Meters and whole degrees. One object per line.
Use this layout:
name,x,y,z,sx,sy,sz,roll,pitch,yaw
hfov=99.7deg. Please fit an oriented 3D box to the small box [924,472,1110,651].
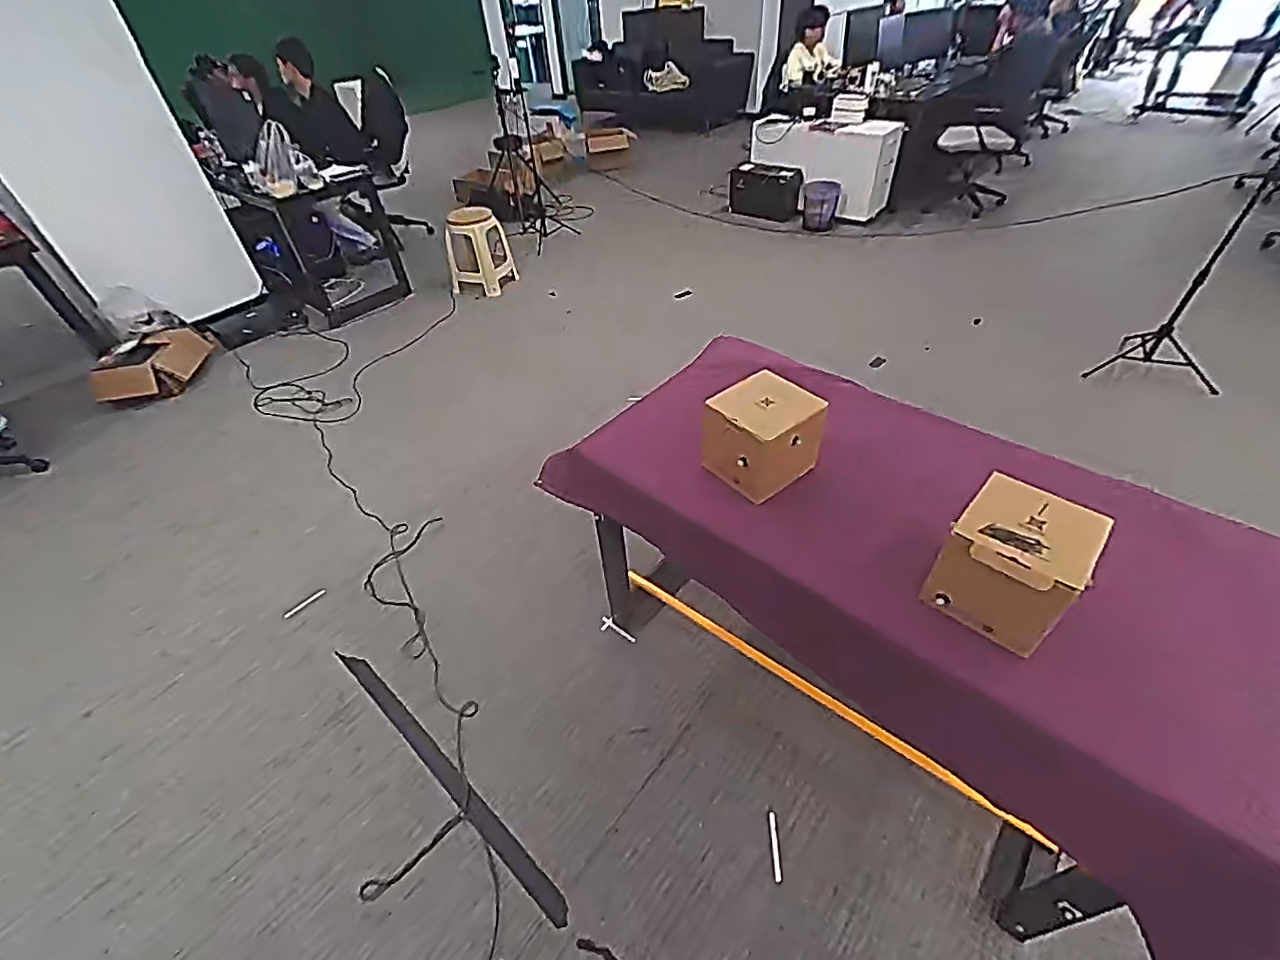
small box,0.567,0.126,0.835,0.168,0.176,0.179,32,53,32

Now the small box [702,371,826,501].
small box,0.243,-0.087,1.090,0.179,0.176,0.168,-30,50,-25
